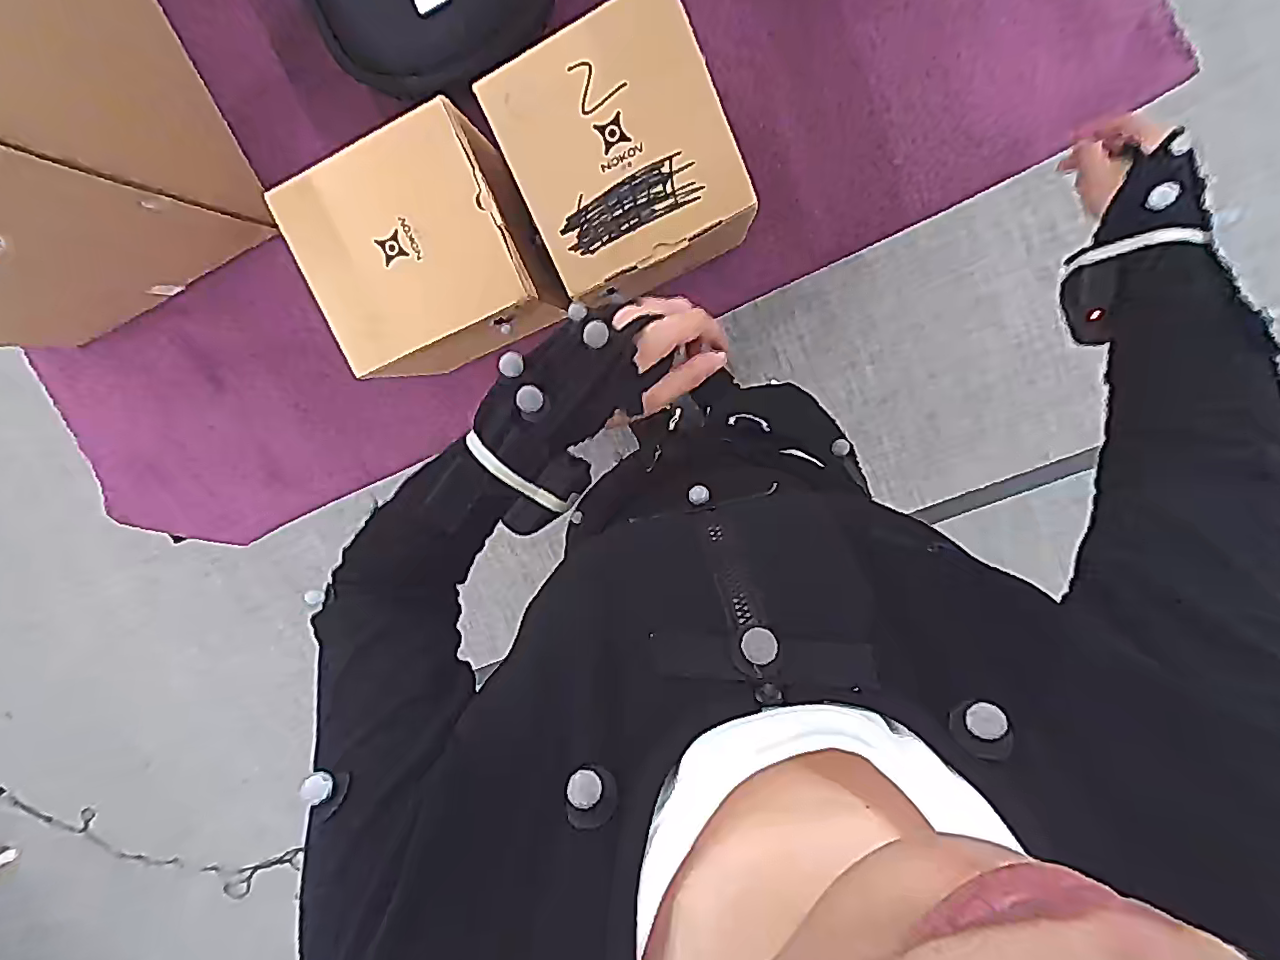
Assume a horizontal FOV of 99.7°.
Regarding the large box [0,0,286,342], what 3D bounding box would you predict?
[{"bbox_3d":[-0.623,-0.365,0.451,0.320,0.320,0.408,-25,103,9],"label":"large box"}]
